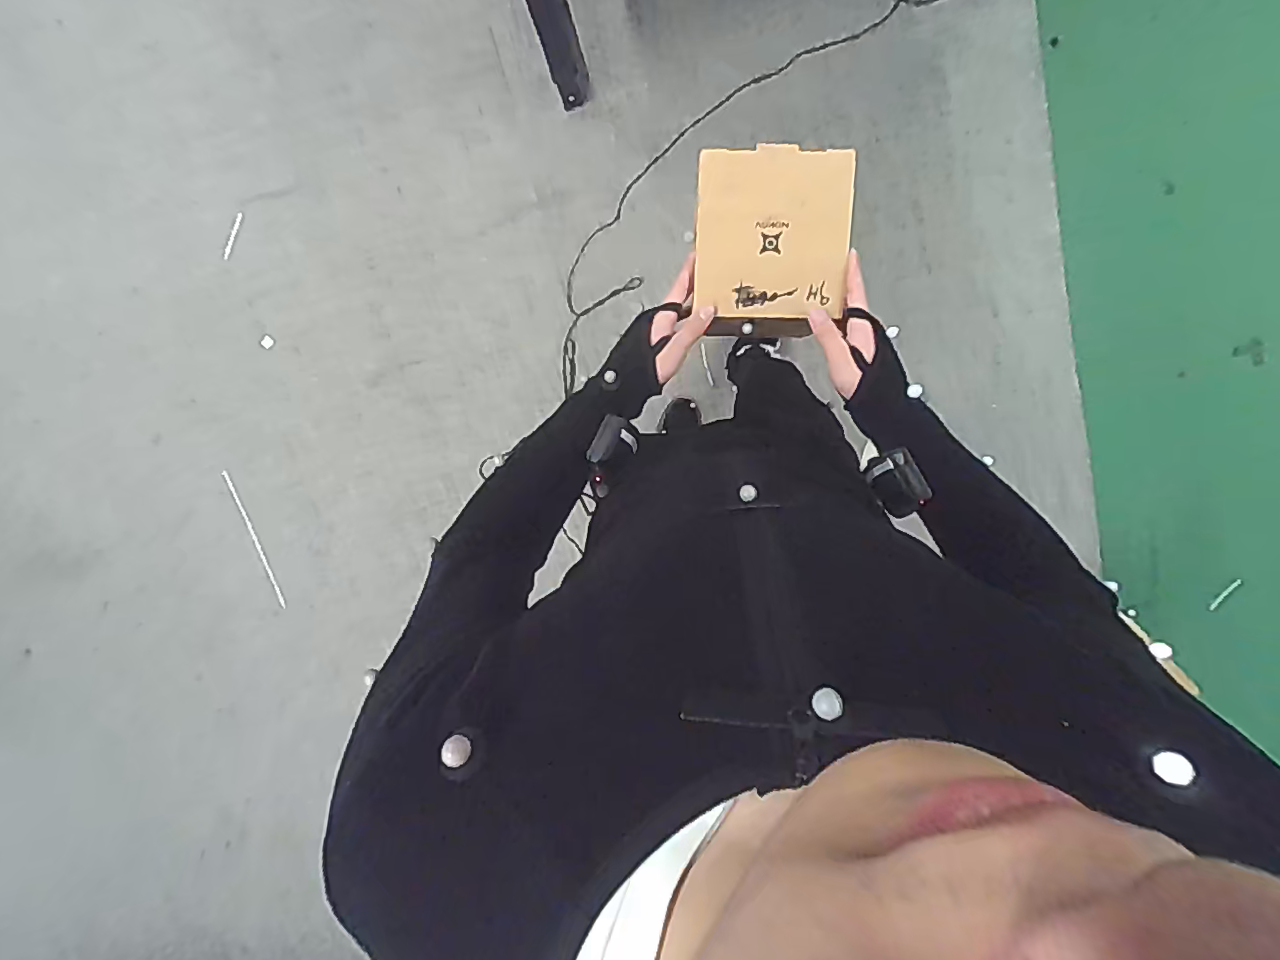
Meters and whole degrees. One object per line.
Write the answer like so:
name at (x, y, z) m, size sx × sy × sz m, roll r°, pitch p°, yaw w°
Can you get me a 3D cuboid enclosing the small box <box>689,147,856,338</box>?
small box at (0.146, -0.273, 0.657) m, size 0.168 × 0.176 × 0.179 m, roll 2°, pitch 99°, yaw 4°
